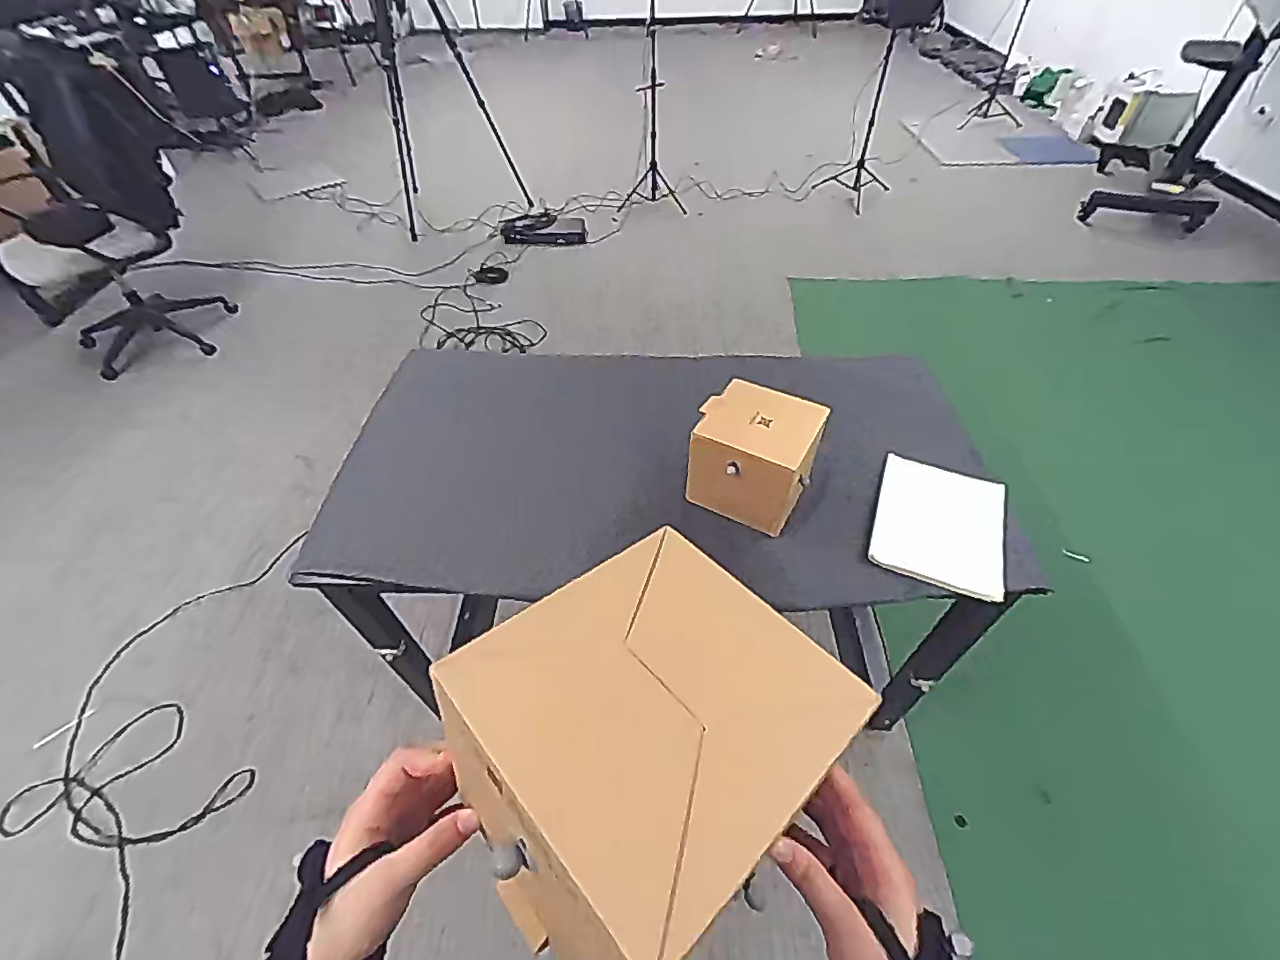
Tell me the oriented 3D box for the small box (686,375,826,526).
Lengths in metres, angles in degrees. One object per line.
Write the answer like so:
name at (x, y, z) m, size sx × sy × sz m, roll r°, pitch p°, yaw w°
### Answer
small box at (0.191, -0.046, 0.925) m, size 0.179 × 0.176 × 0.168 m, roll 23°, pitch 52°, yaw 21°

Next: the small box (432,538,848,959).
small box at (-0.003, 0.162, 0.335) m, size 0.179 × 0.176 × 0.168 m, roll -27°, pitch 50°, yaw -36°
